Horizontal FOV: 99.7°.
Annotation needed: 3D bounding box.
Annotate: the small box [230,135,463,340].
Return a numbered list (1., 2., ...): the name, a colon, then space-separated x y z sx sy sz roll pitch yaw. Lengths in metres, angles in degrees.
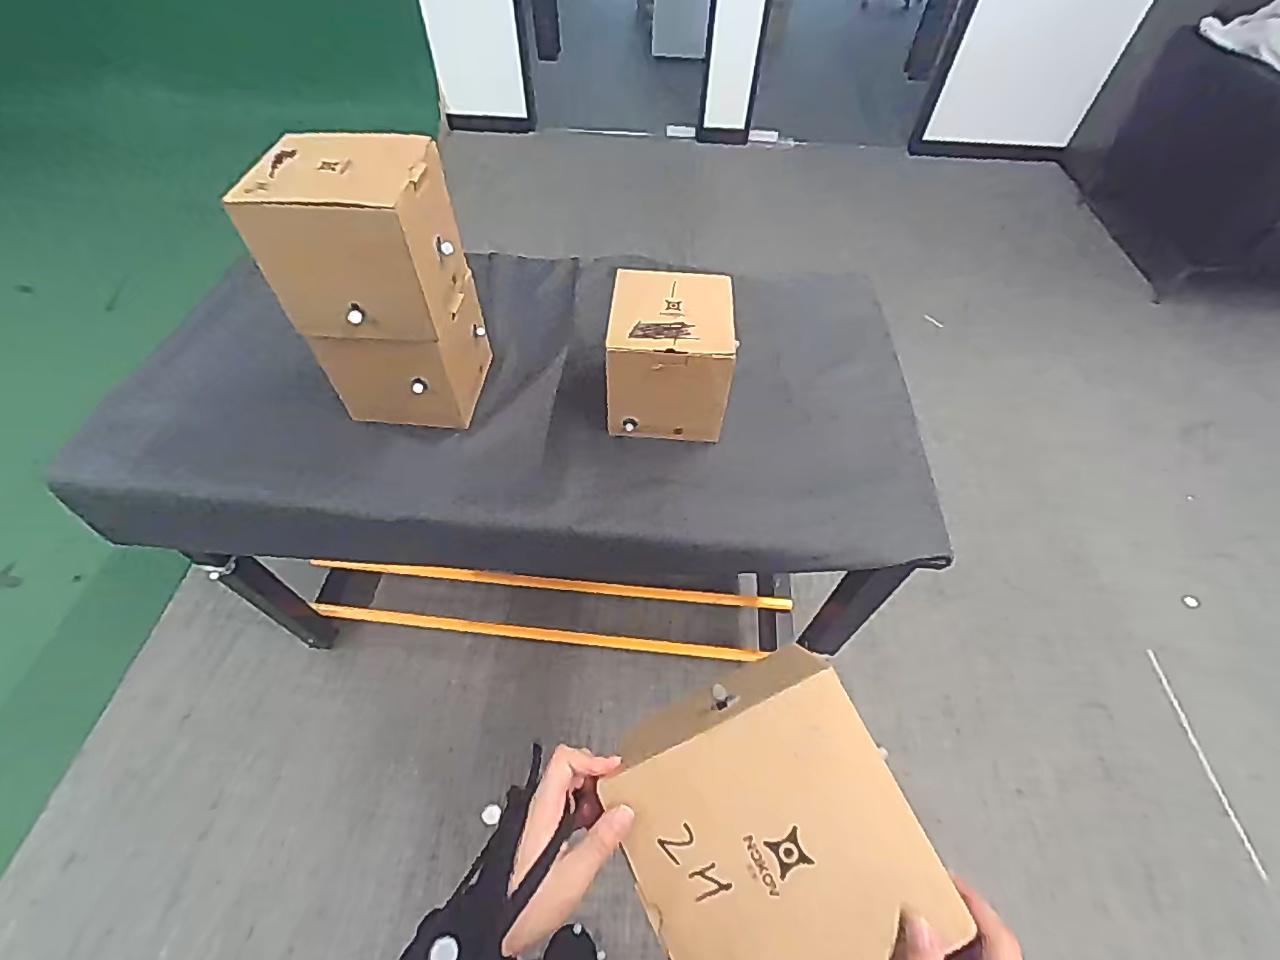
1. small box: -0.329 -0.287 0.655 0.179 0.176 0.168 2 52 -2

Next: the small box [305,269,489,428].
1. small box: -0.333 -0.192 0.790 0.179 0.176 0.168 4 52 1

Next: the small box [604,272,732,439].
1. small box: 0.040 -0.178 0.793 0.168 0.176 0.179 4 53 0
